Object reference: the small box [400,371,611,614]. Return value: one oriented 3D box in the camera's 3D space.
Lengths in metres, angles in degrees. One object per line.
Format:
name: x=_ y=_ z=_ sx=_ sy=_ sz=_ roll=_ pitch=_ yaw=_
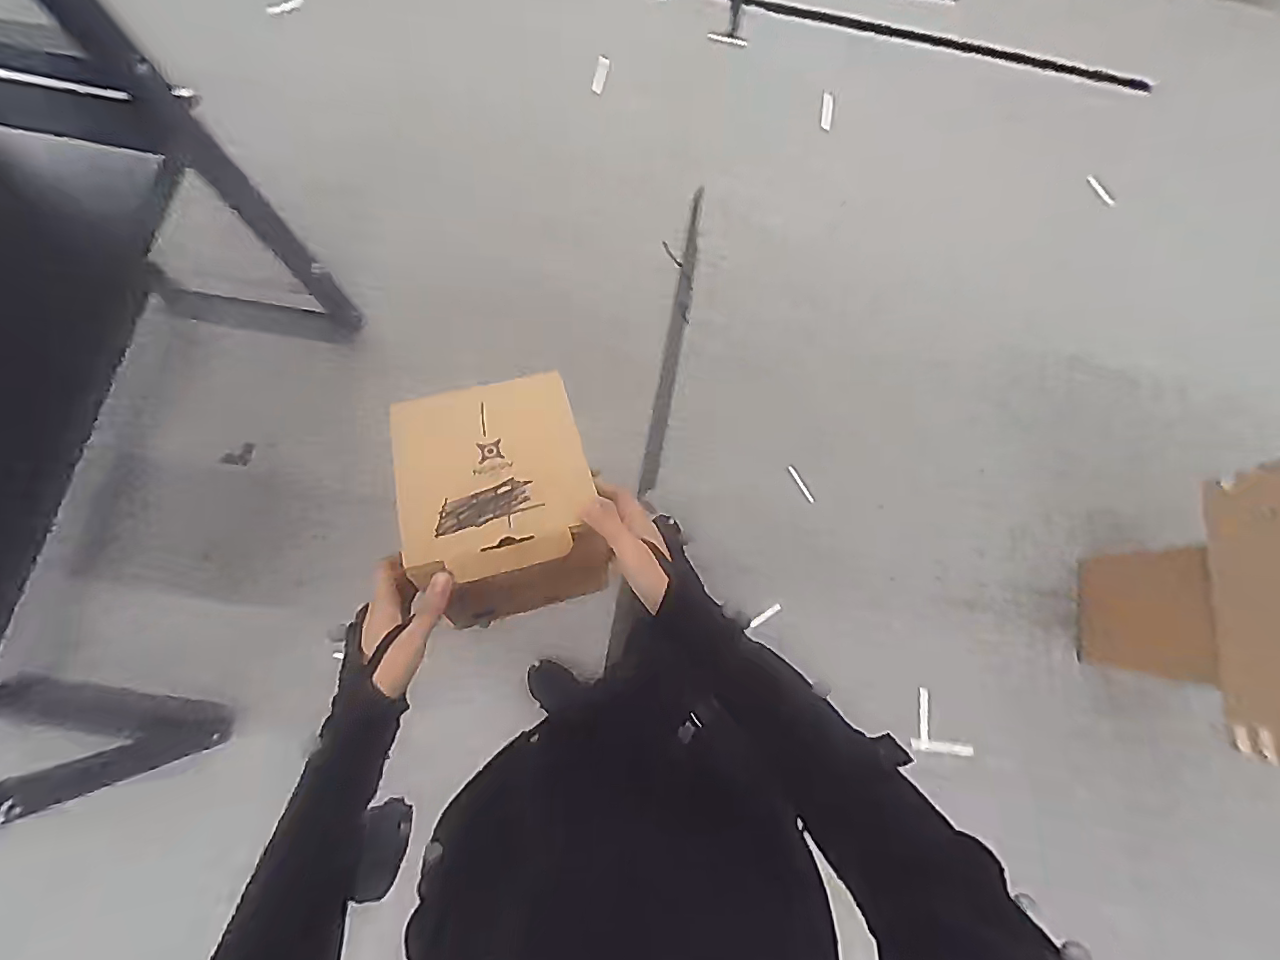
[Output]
small box: x=-0.127 y=0.022 z=0.546 sx=0.168 sy=0.176 sz=0.179 roll=-13 pitch=59 yaw=-10
